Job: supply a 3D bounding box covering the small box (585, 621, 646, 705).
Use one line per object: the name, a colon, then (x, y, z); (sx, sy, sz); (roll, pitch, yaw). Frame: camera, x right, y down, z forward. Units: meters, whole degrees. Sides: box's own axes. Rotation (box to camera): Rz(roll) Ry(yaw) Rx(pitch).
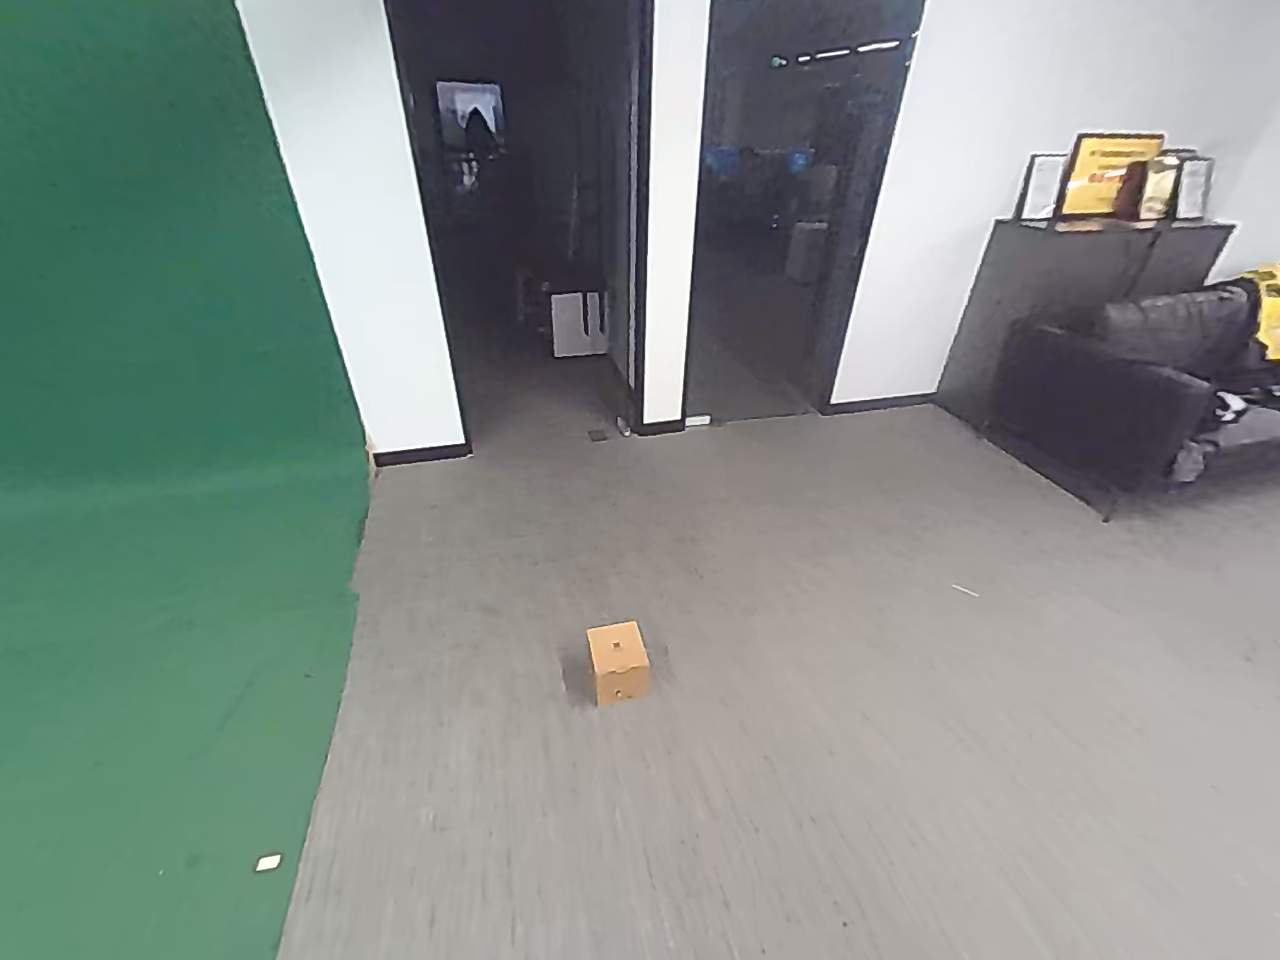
small box: (-0.083, 0.584, 1.727); (0.168, 0.176, 0.179); (-6, 36, -13)
